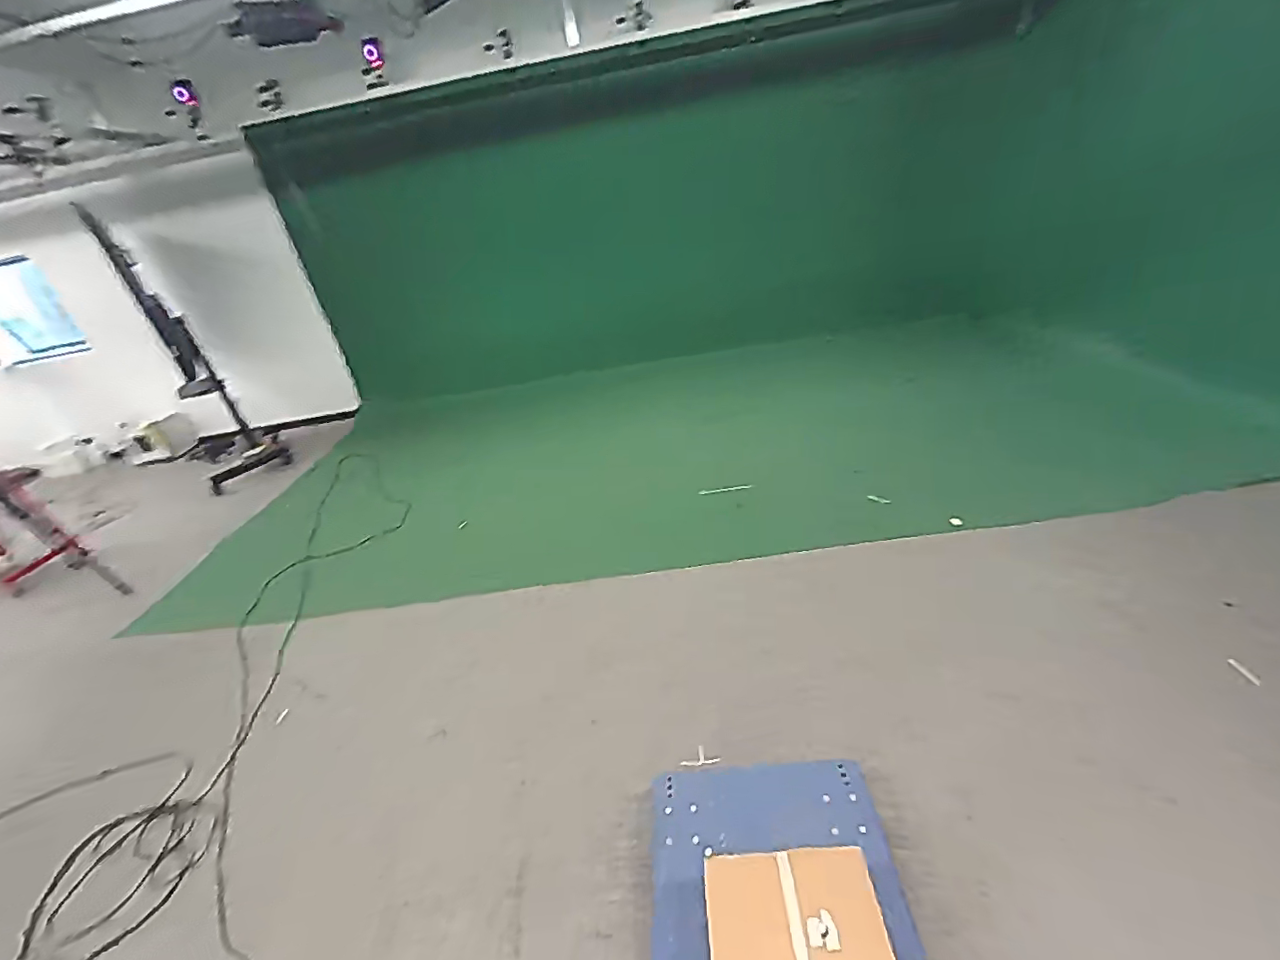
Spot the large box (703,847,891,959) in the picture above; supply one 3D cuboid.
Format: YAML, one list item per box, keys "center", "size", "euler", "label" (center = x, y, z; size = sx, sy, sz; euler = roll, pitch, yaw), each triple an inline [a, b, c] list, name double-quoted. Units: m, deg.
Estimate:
- center: [0.301, 0.976, 0.985]
  size: [0.320, 0.320, 0.408]
  euler: [-7, 29, 6]
  label: "large box"
